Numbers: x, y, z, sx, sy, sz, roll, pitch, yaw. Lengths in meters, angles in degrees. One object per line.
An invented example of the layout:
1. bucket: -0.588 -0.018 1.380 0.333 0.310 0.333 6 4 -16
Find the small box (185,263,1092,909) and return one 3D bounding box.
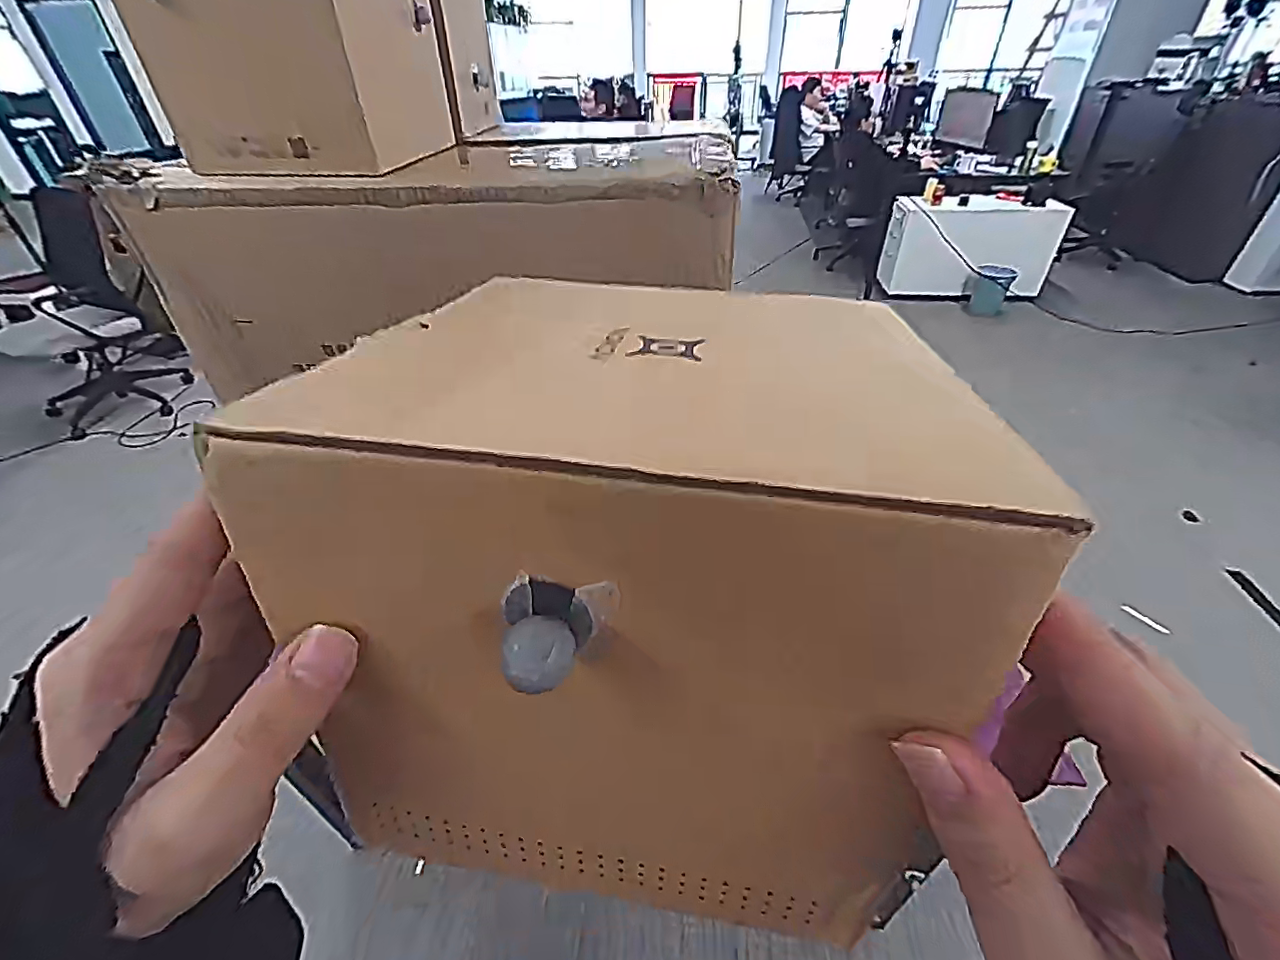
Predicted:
1. small box: 0.002 0.024 0.207 0.179 0.176 0.168 6 31 8

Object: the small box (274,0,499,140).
1. small box: -0.271 -0.480 0.596 0.179 0.176 0.168 2 38 2
